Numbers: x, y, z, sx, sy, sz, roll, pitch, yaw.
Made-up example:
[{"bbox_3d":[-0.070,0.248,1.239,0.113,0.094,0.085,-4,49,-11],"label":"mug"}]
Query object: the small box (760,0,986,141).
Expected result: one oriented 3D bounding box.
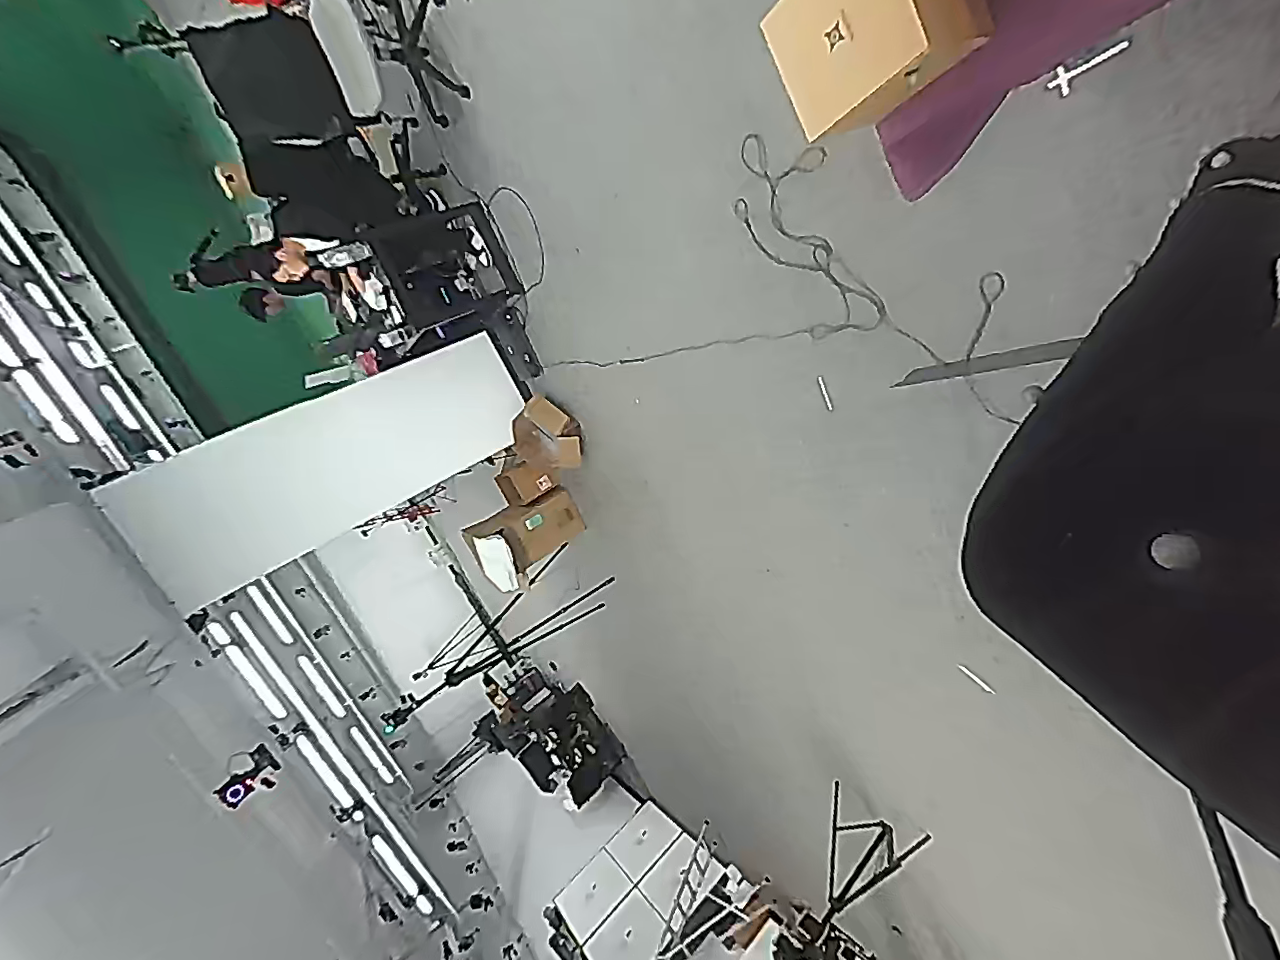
[{"bbox_3d":[0.295,-0.576,0.690,0.179,0.176,0.168,-11,109,59],"label":"small box"}]
